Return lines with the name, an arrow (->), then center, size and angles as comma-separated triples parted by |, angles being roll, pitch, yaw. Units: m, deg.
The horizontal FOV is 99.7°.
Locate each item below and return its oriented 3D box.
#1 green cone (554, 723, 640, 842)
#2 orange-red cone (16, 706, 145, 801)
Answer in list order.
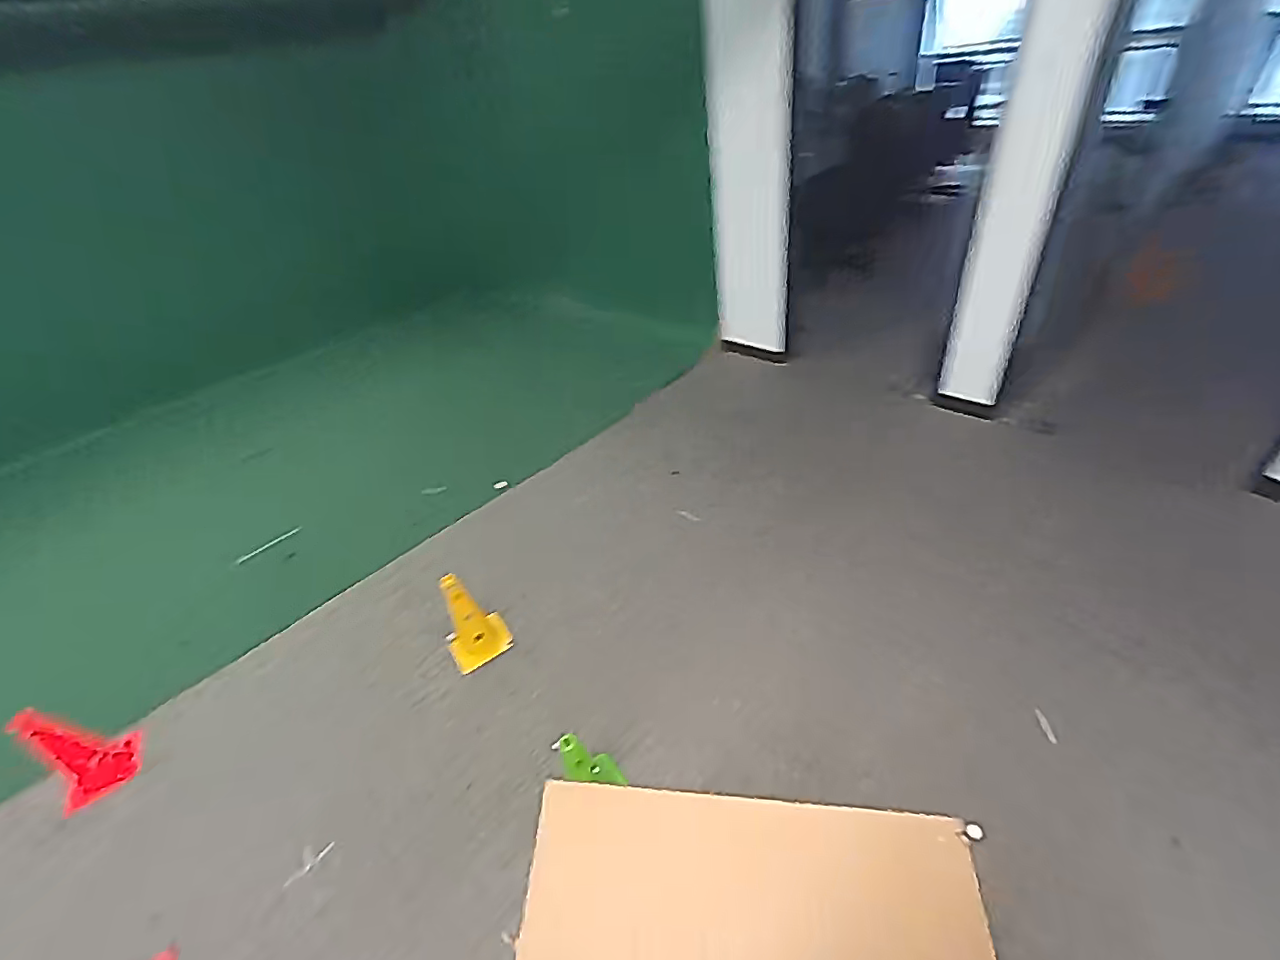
green cone -> -0.150, 0.769, 1.463 | 0.200, 0.368, 0.202 | -31, 42, -25
orange-red cone -> -1.848, 0.838, 1.749 | 0.199, 0.360, 0.198 | -31, 42, -22
